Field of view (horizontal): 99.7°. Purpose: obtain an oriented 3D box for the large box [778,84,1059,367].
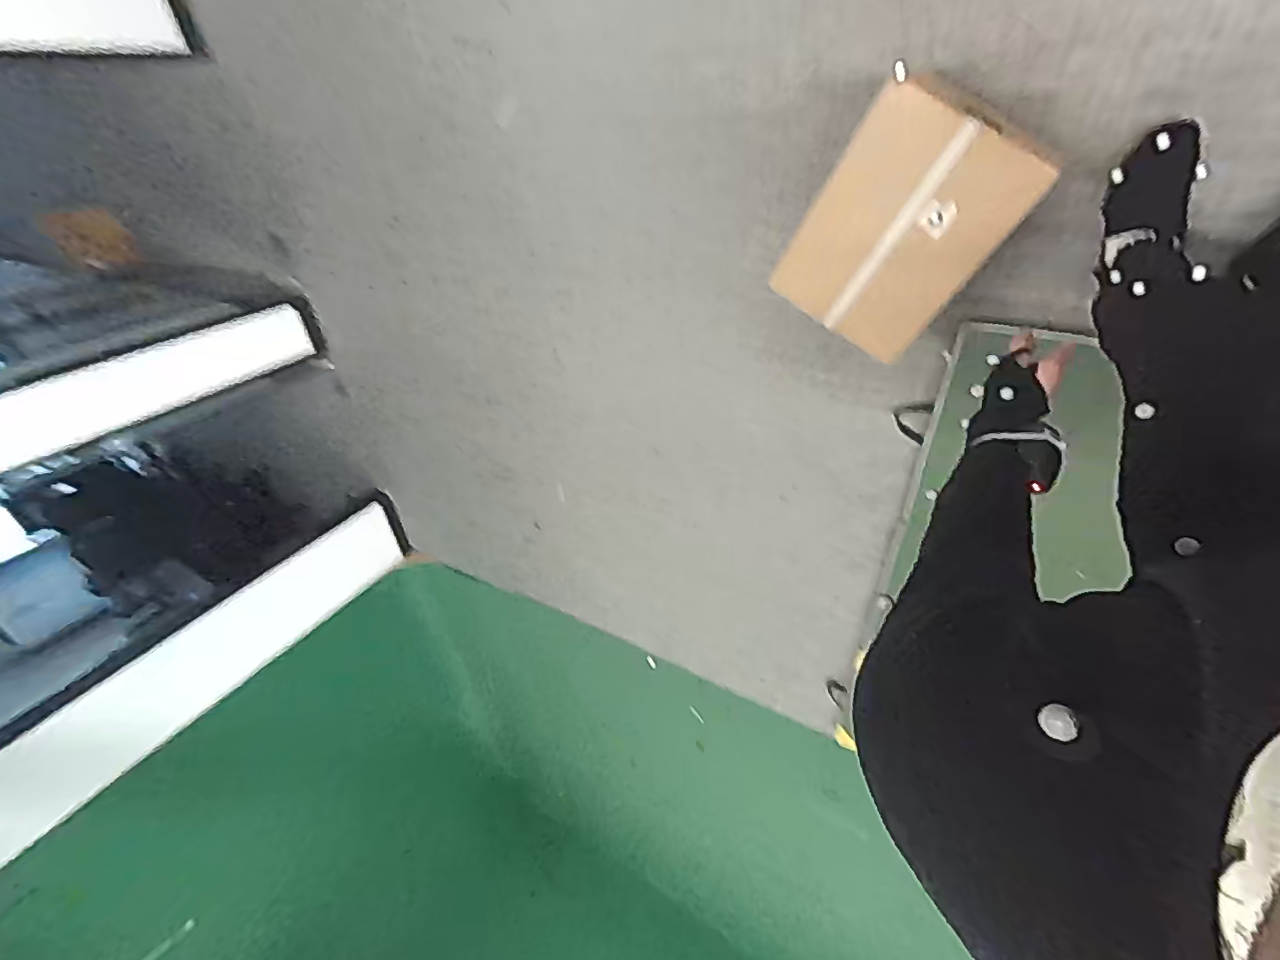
[{"bbox_3d":[0.559,-0.521,1.120,0.320,0.320,0.408,37,135,8],"label":"large box"}]
